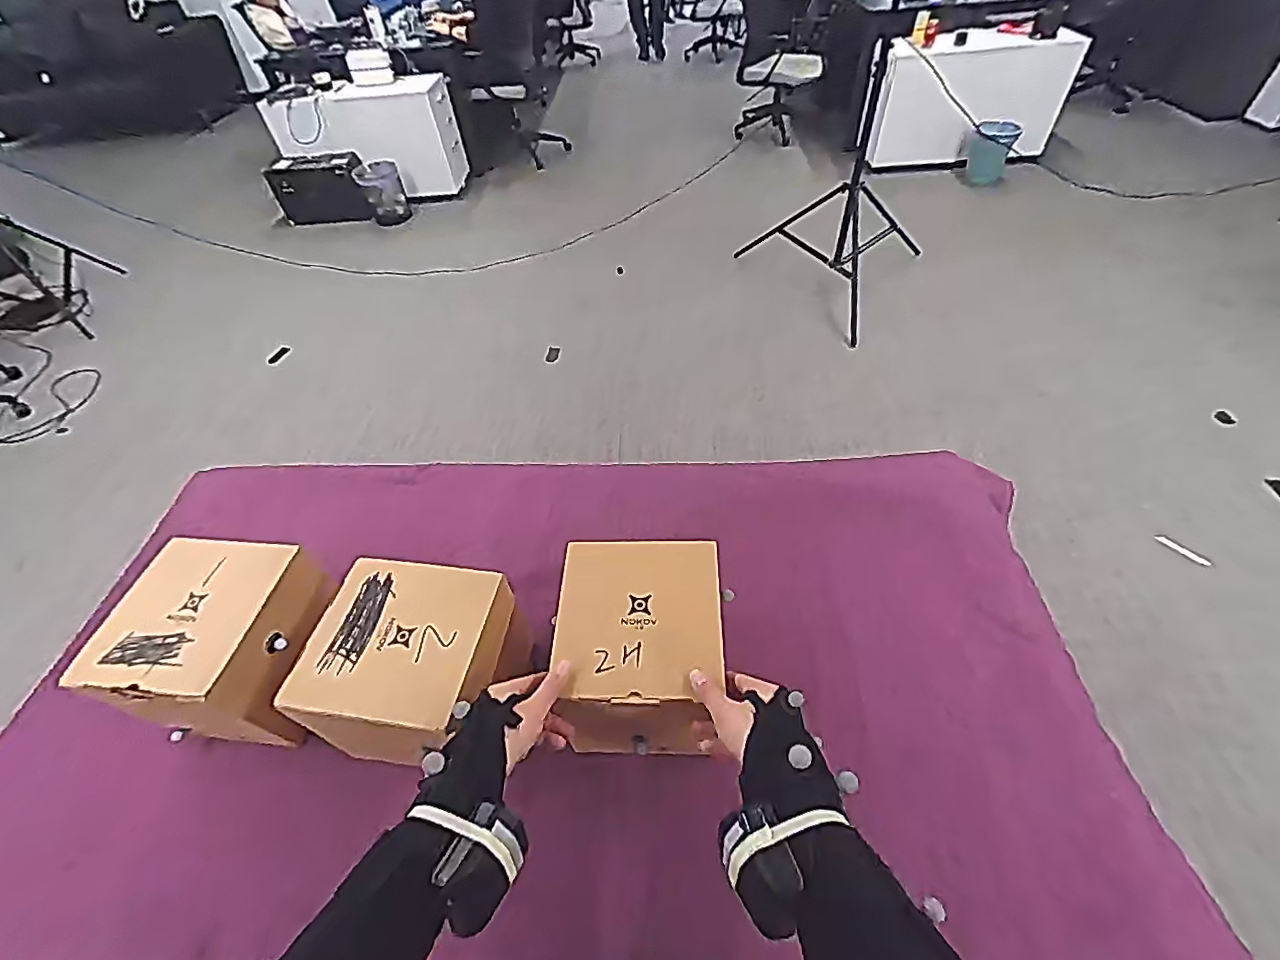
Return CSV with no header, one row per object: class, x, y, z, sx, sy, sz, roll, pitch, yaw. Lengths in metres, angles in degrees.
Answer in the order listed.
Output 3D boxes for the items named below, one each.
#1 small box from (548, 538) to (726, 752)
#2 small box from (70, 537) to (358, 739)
small box,0.005,0.183,0.604,0.168,0.176,0.179,-1,48,5
small box,-0.472,0.189,0.639,0.168,0.176,0.179,3,49,7
